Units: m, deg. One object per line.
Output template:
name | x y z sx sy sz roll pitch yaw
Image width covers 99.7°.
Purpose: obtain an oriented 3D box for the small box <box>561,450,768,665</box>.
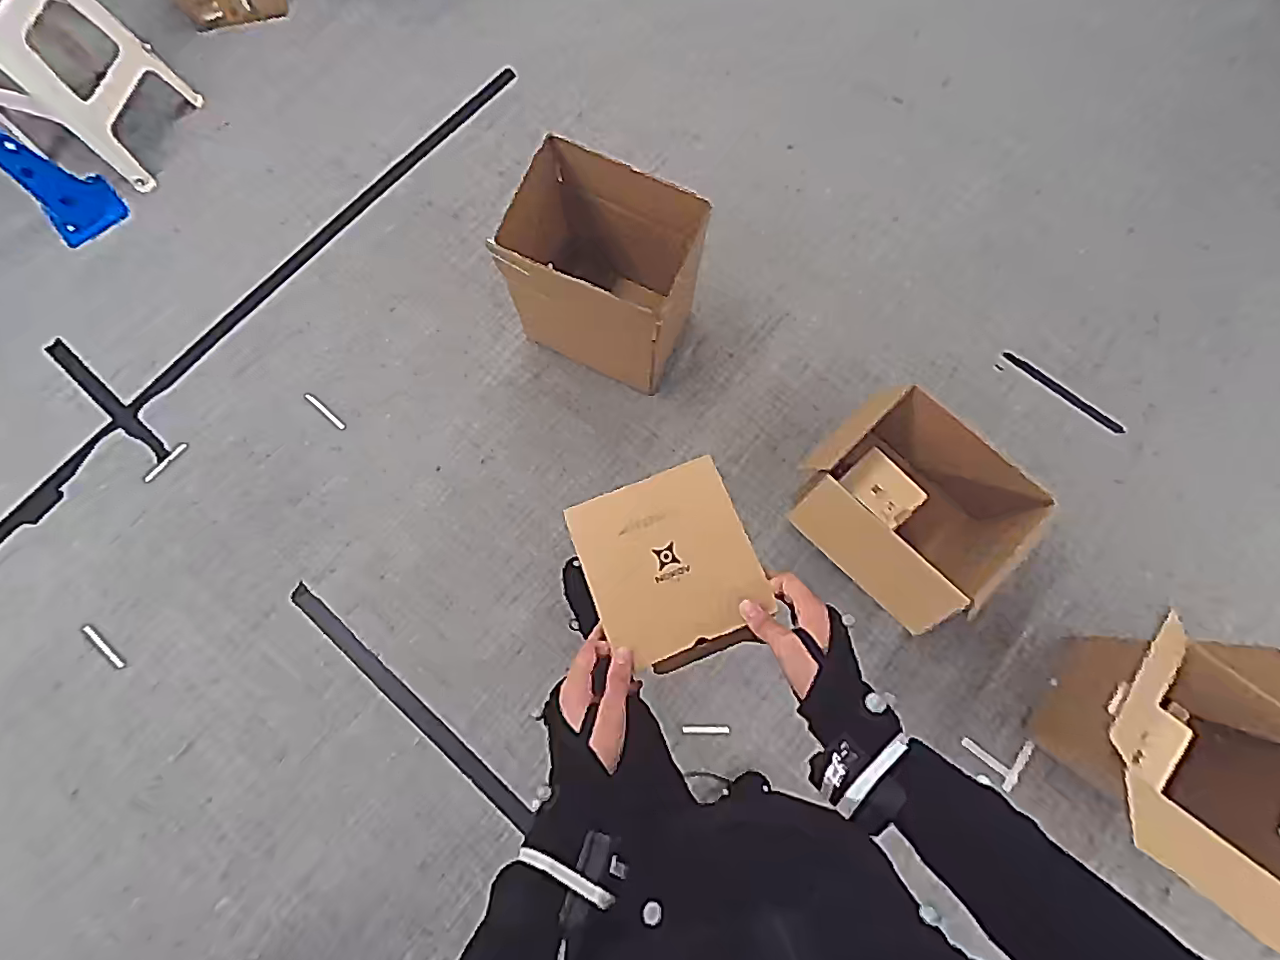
small box | 0.025 0.089 0.620 0.168 0.176 0.179 -21 79 -3
